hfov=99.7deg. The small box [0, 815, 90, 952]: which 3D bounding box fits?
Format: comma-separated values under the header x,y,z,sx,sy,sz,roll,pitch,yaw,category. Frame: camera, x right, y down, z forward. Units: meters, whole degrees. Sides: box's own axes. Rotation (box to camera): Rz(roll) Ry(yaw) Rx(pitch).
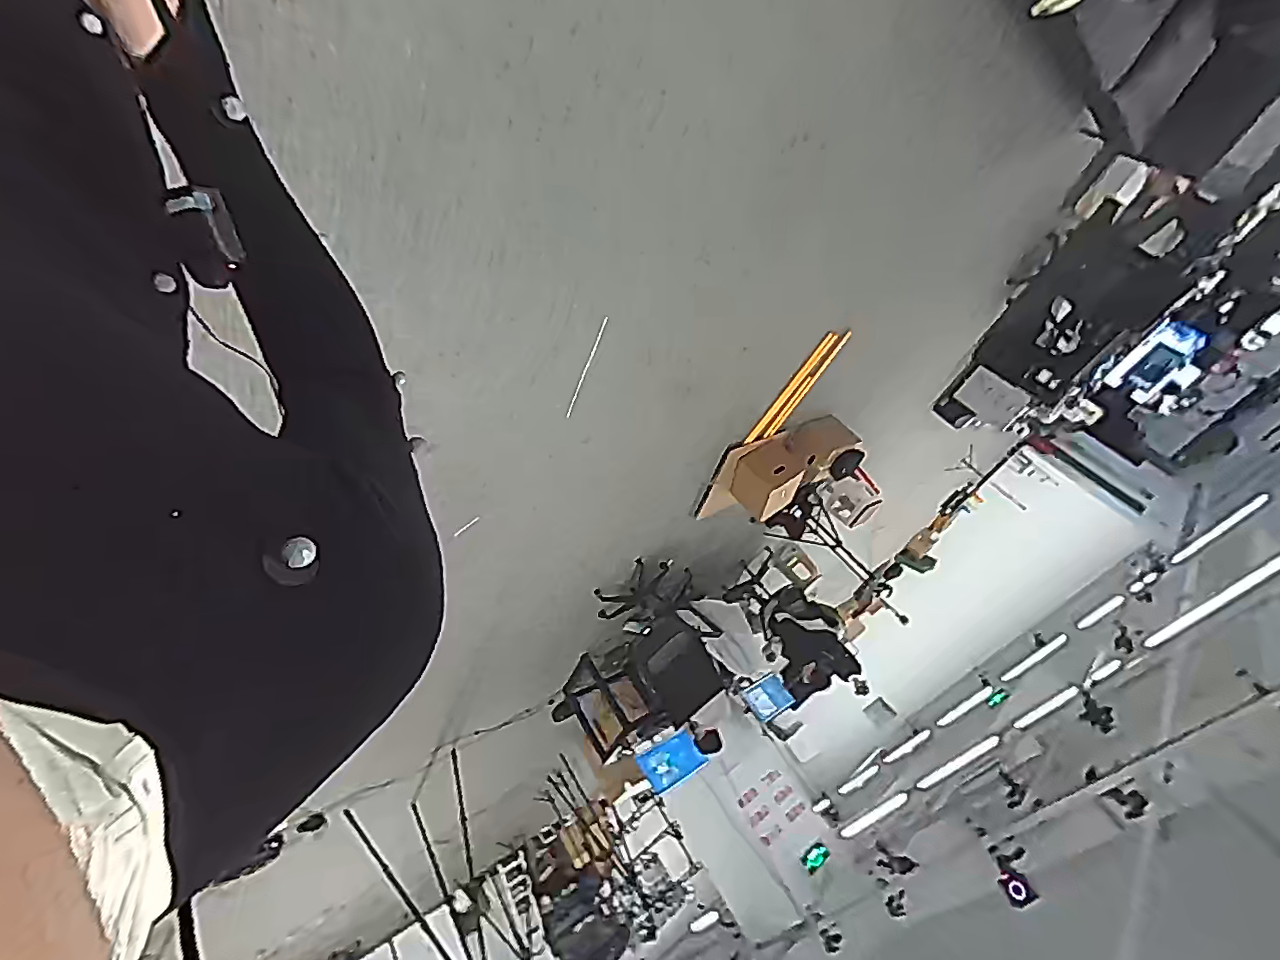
x,y,z,sx,sy,sz,roll,pitch,yaw,category
-1.290,0.849,1.138,0.168,0.176,0.179,-10,139,-42,small box
